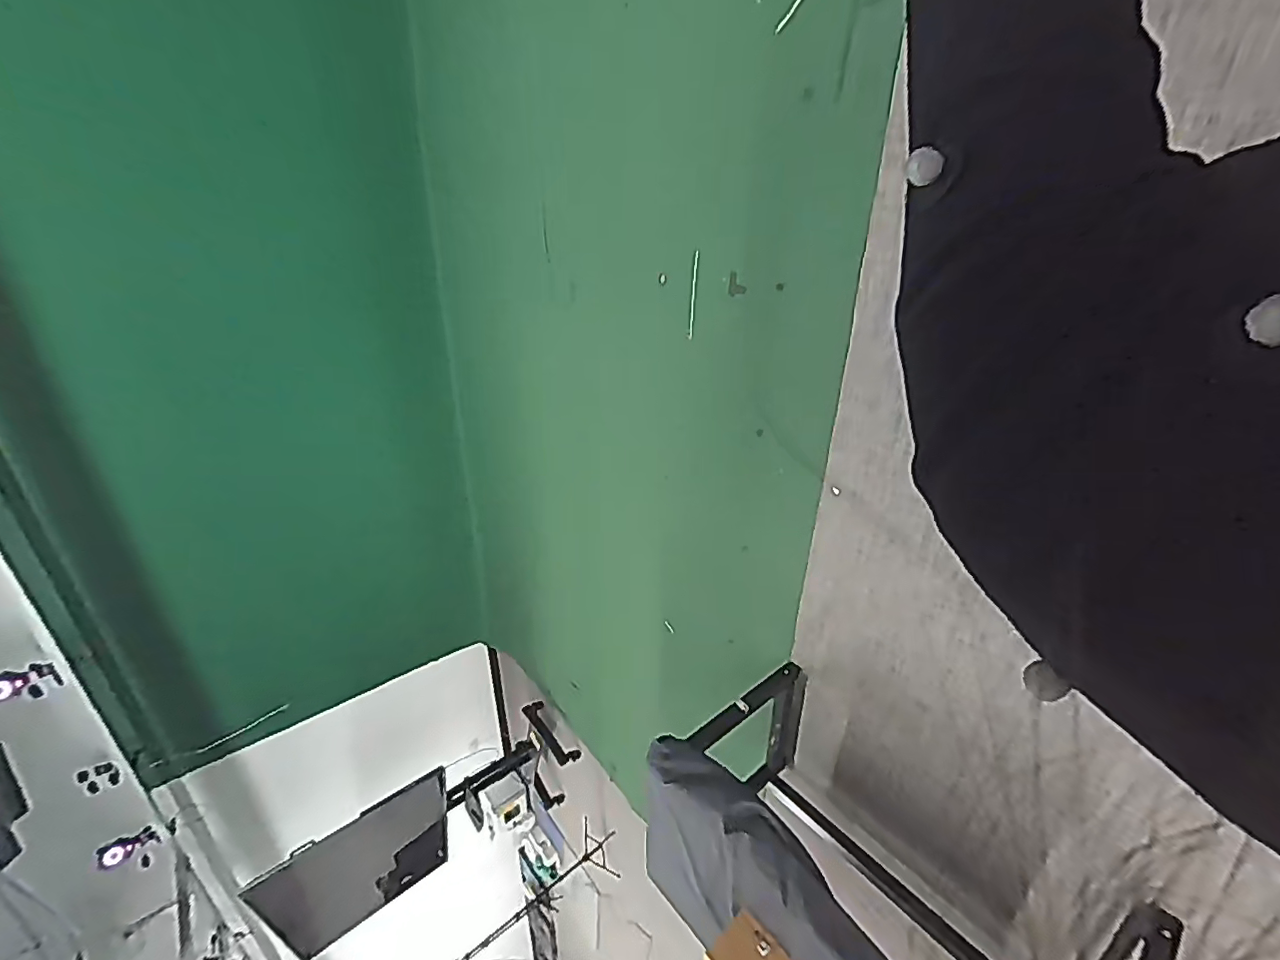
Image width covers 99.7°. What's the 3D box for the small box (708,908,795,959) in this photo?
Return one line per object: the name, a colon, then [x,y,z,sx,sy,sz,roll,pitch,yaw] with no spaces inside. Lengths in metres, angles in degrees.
small box: [0.294,1.301,1.425,0.168,0.176,0.179,22,122,45]
